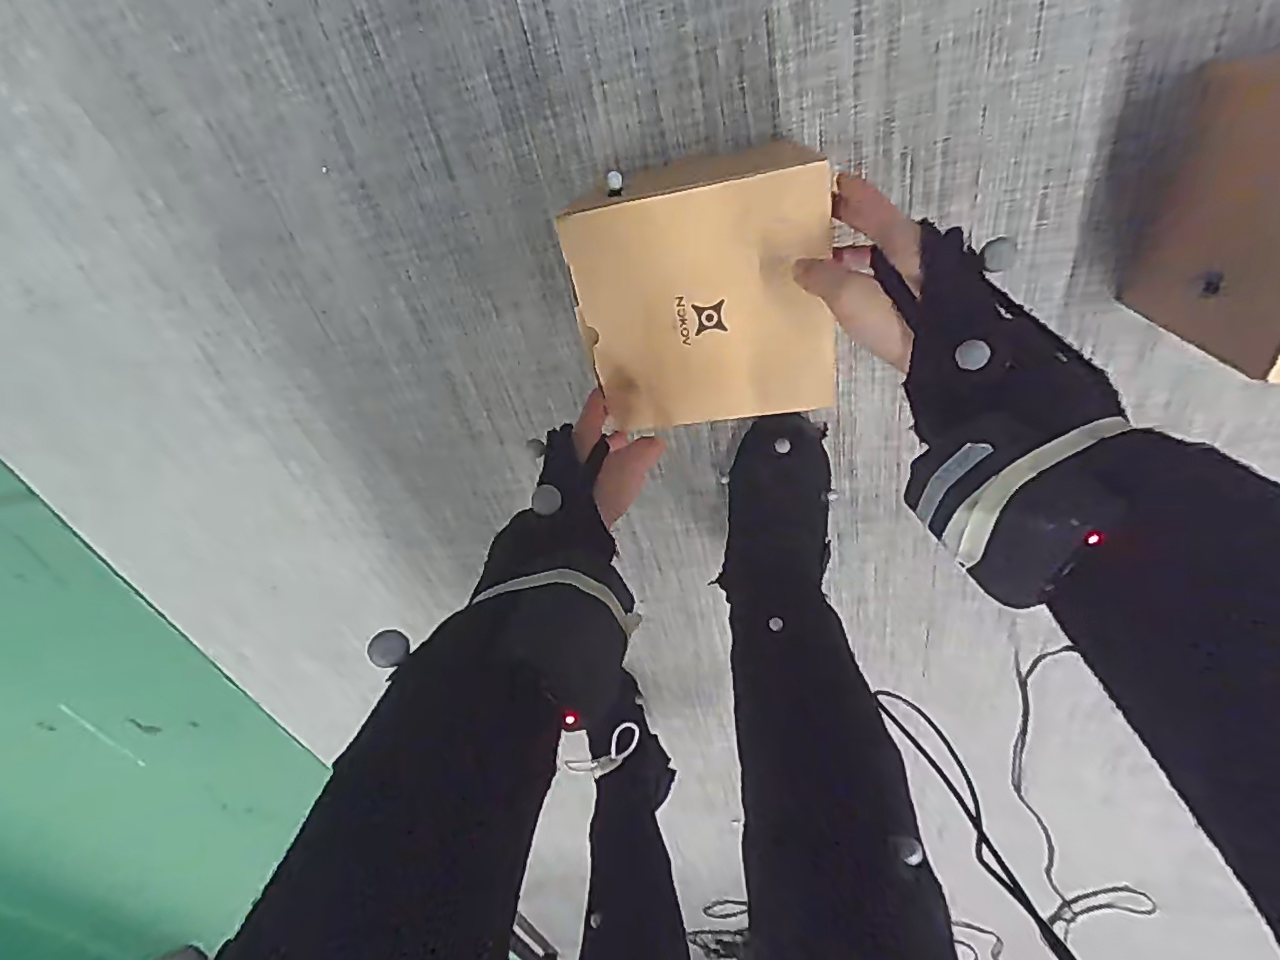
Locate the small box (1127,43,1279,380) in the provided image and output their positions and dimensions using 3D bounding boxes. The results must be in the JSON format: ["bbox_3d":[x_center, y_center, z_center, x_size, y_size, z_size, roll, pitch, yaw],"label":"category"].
[{"bbox_3d":[0.475,-0.184,0.350,0.168,0.176,0.179,-3,124,10],"label":"small box"}]

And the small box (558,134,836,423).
[{"bbox_3d":[0.055,-0.166,0.440,0.179,0.176,0.168,-5,125,14],"label":"small box"}]
